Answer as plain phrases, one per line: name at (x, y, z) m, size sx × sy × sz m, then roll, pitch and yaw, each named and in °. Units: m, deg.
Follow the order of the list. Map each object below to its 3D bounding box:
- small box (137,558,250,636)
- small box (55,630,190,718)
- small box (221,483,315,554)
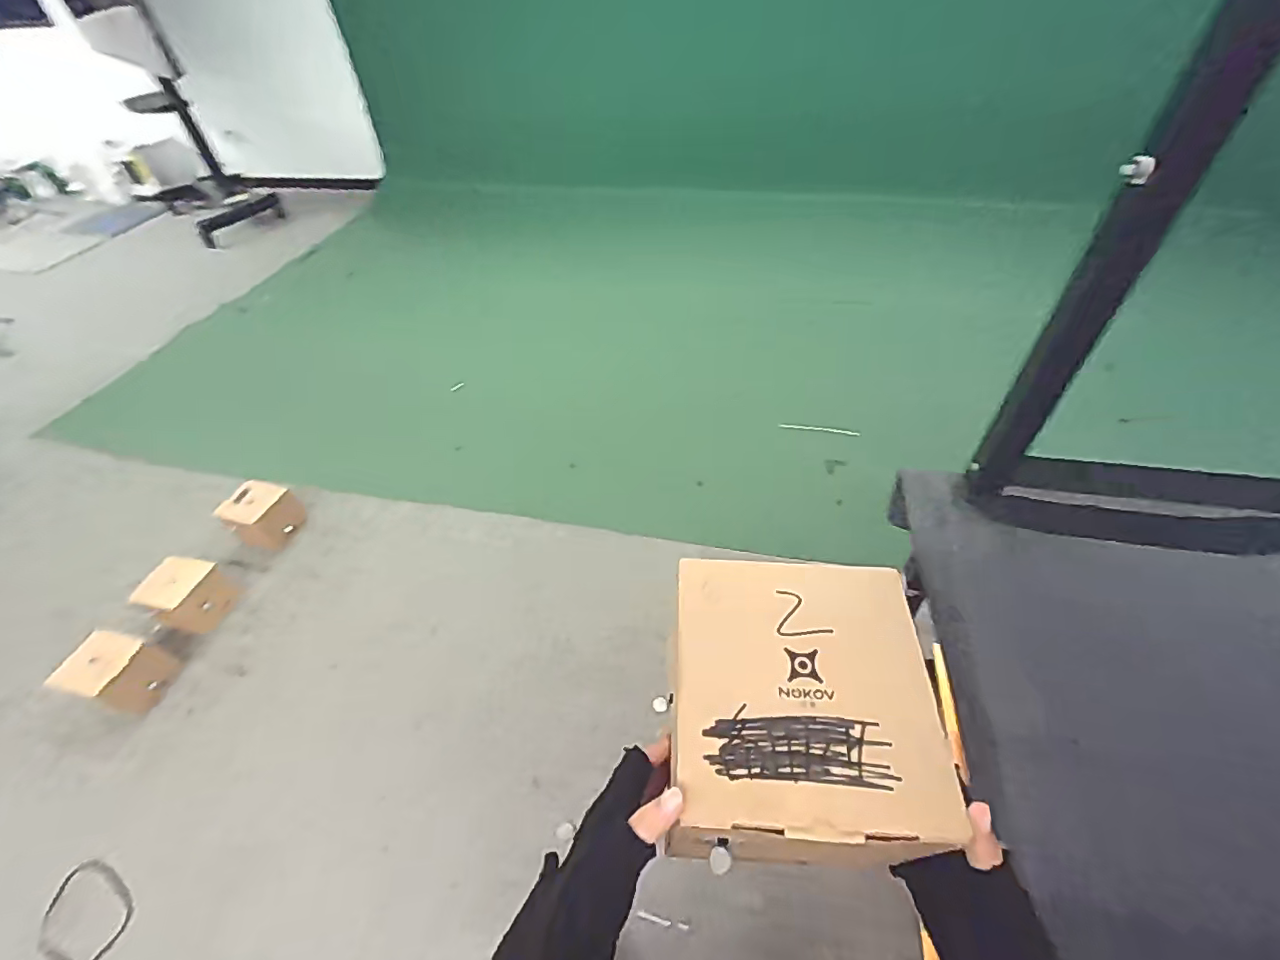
small box at (-1.386, 0.369, 1.693) m, size 0.179 × 0.176 × 0.168 m, roll 7°, pitch 47°, yaw 11°
small box at (-1.440, 0.547, 1.518) m, size 0.179 × 0.176 × 0.168 m, roll 8°, pitch 48°, yaw 11°
small box at (-1.306, 0.139, 1.909) m, size 0.179 × 0.176 × 0.168 m, roll 11°, pitch 48°, yaw 13°
